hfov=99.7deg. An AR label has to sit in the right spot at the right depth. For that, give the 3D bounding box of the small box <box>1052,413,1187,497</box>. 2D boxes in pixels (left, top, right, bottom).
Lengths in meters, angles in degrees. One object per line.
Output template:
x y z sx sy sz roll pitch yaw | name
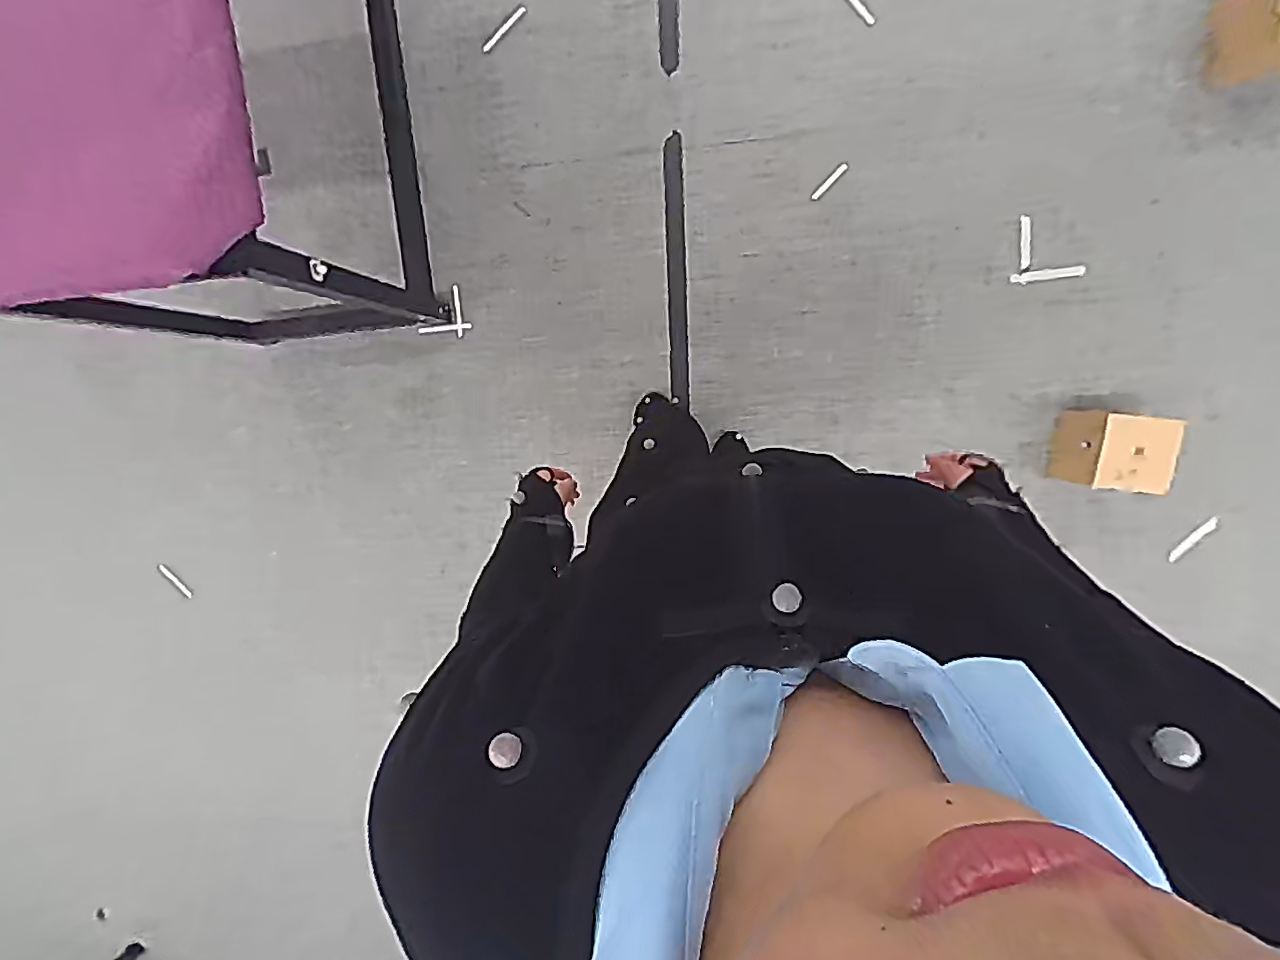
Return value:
1.144 -0.066 1.308 0.168 0.176 0.179 7 100 5 | small box
